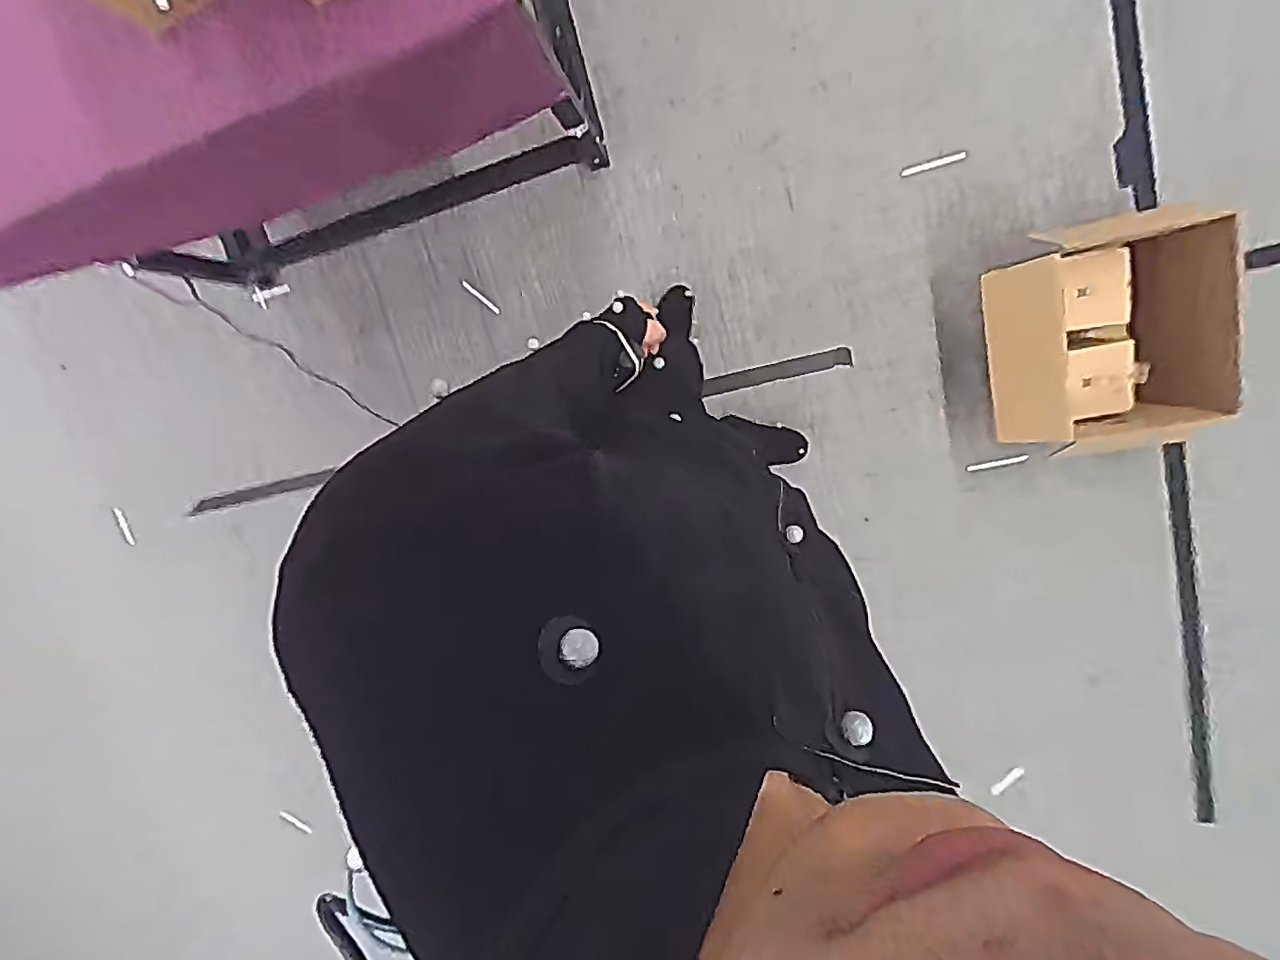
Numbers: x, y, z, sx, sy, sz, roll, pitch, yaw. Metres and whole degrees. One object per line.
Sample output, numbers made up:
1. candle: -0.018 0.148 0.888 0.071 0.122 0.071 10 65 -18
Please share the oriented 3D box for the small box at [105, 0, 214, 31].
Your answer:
1. small box: -0.744 -0.800 0.759 0.168 0.176 0.179 -18 100 12
